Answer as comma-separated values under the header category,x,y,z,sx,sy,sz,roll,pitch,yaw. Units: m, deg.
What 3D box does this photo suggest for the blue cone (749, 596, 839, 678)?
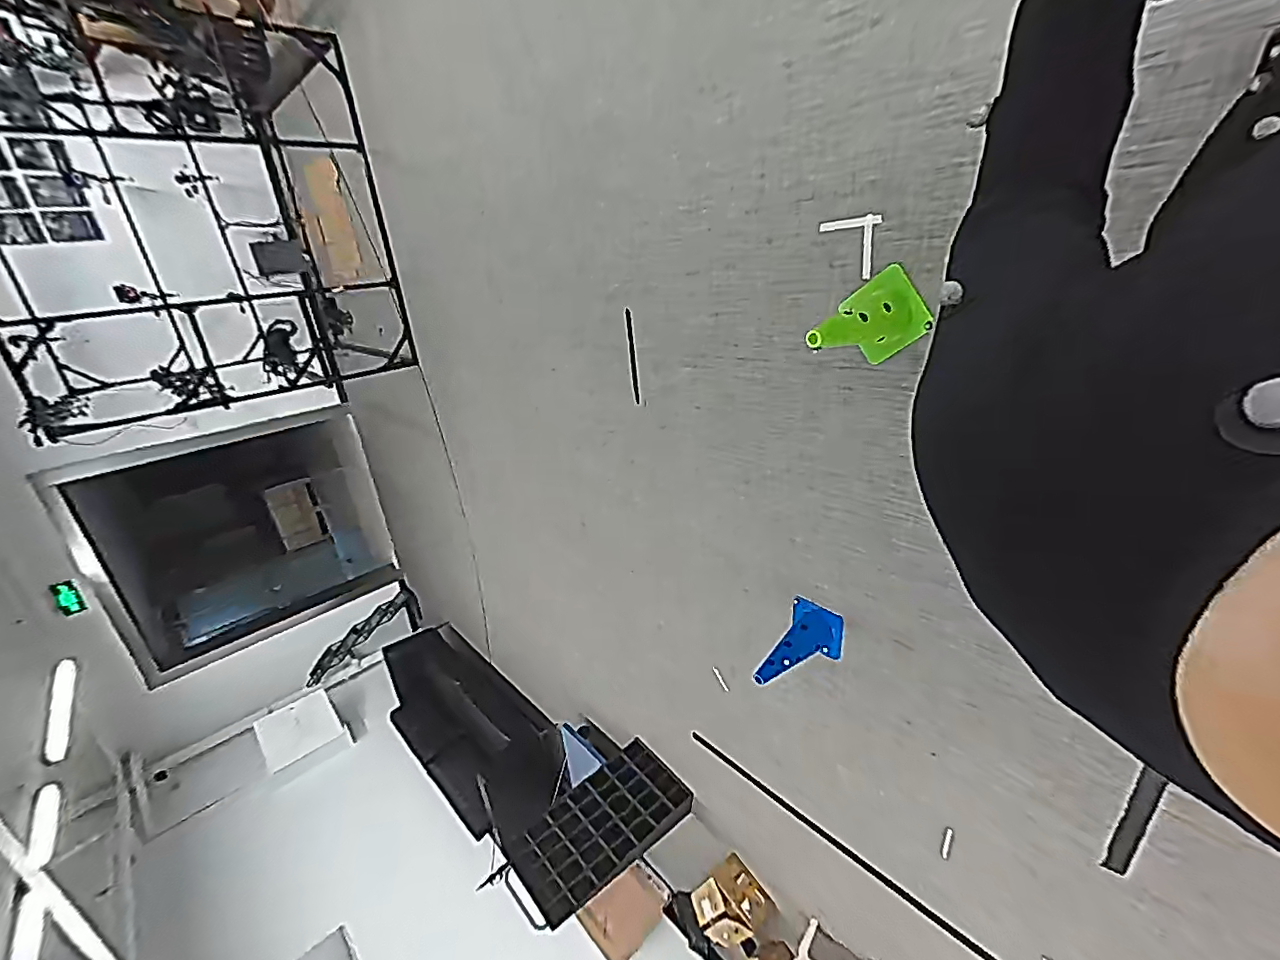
category,x,y,z,sx,sy,sz,roll,pitch,yaw
blue cone,0.526,0.591,1.910,0.192,0.380,0.193,24,127,43

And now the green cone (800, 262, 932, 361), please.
category,x,y,z,sx,sy,sz,roll,pitch,yaw
green cone,0.521,-0.390,1.347,0.200,0.368,0.202,62,145,7
